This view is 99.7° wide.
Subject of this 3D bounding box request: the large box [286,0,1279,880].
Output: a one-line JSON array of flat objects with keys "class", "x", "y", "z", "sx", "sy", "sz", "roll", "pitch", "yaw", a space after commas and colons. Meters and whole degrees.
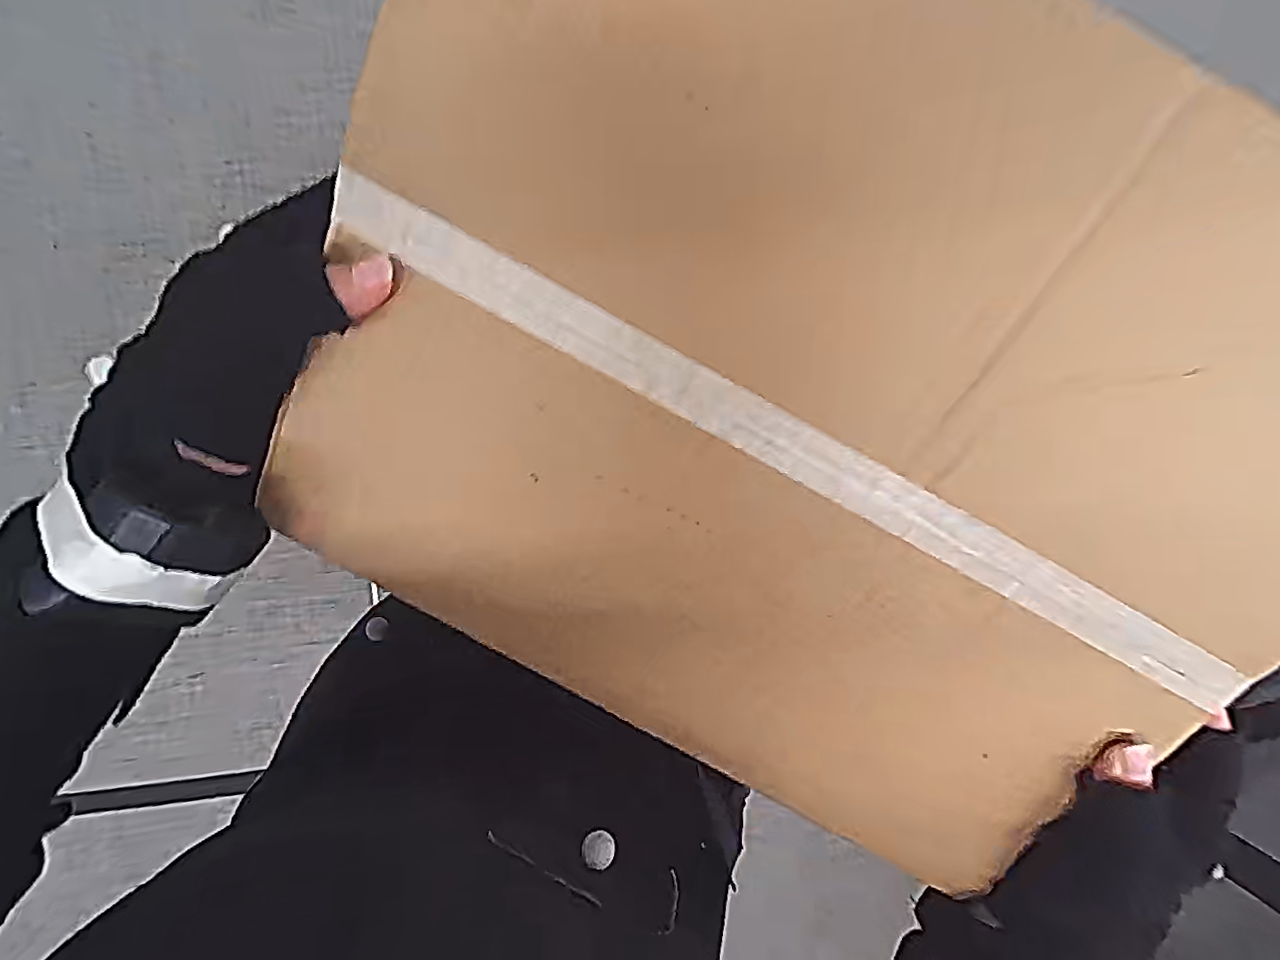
[{"class": "large box", "x": 0.084, "y": -0.054, "z": 0.364, "sx": 0.408, "sy": 0.320, "sz": 0.320, "roll": 30, "pitch": 111, "yaw": -2}]
